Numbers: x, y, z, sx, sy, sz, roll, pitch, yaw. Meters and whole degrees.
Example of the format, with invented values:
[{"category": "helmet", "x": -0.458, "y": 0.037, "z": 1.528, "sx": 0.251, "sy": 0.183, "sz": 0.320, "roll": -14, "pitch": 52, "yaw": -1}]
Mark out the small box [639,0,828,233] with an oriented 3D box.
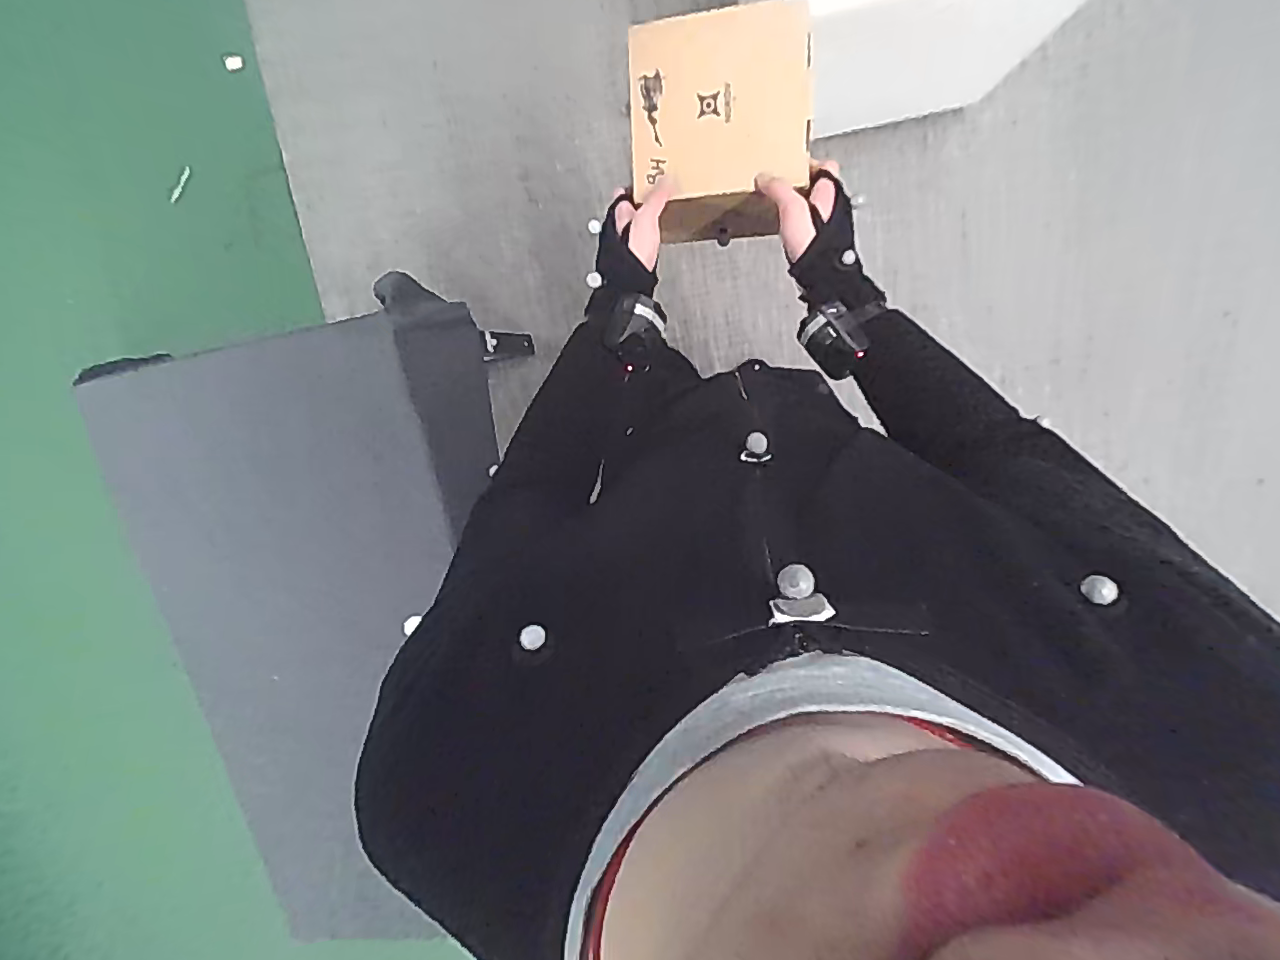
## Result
[{"category": "small box", "x": 0.096, "y": -0.380, "z": 0.593, "sx": 0.179, "sy": 0.176, "sz": 0.168, "roll": 1, "pitch": 101, "yaw": 8}]
